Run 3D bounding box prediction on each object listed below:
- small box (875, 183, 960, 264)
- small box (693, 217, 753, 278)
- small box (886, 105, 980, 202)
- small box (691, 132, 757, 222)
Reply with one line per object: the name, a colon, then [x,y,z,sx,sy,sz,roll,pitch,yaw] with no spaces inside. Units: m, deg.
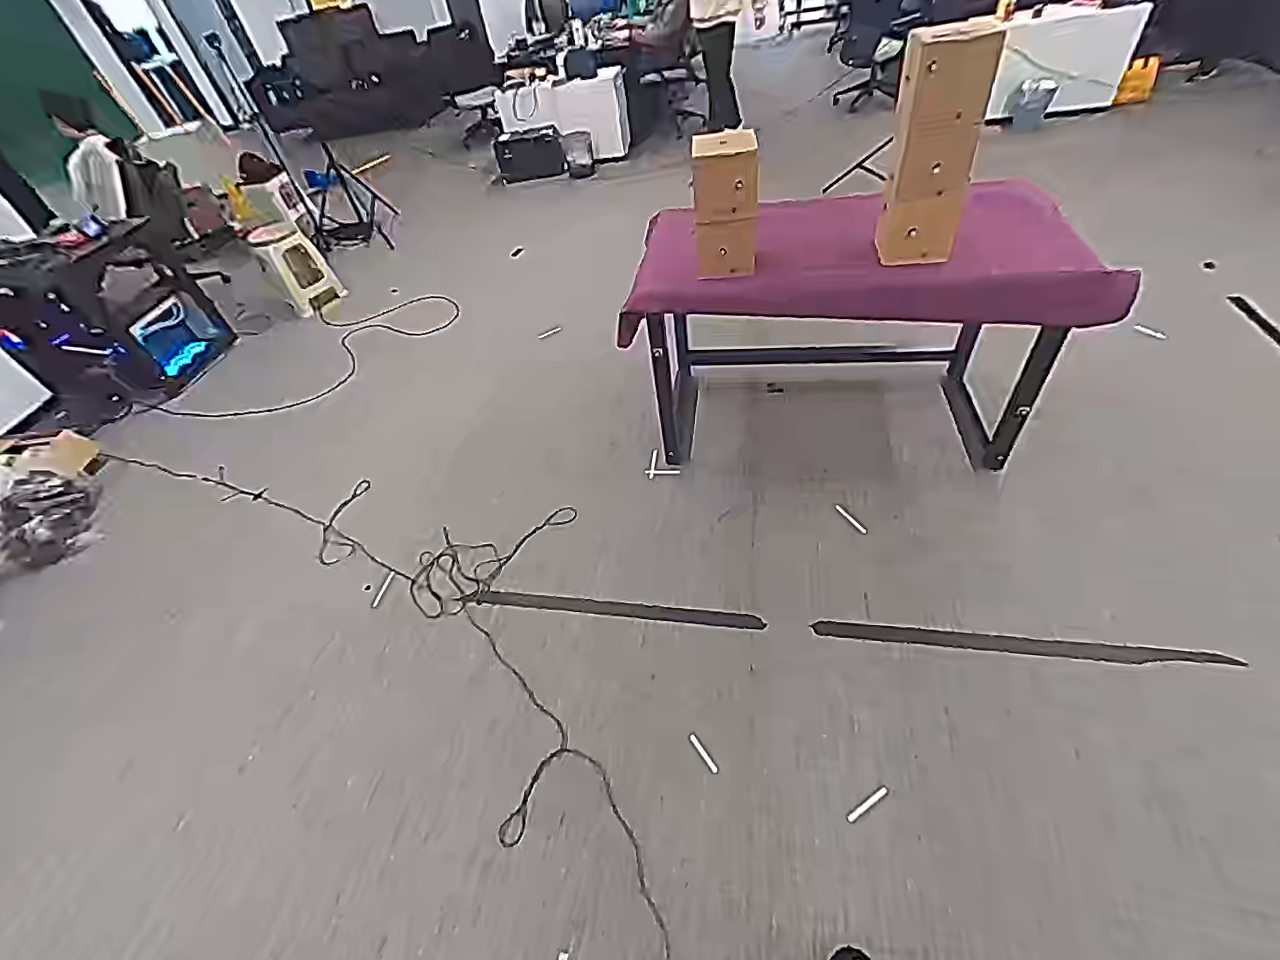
small box: [0.757,-0.708,1.491,0.168,0.176,0.179,1,47,12]
small box: [0.245,-0.704,1.578,0.168,0.176,0.179,-1,46,9]
small box: [0.736,-0.823,1.376,0.168,0.176,0.179,2,48,13]
small box: [0.225,-0.810,1.456,0.168,0.176,0.179,-2,46,7]
